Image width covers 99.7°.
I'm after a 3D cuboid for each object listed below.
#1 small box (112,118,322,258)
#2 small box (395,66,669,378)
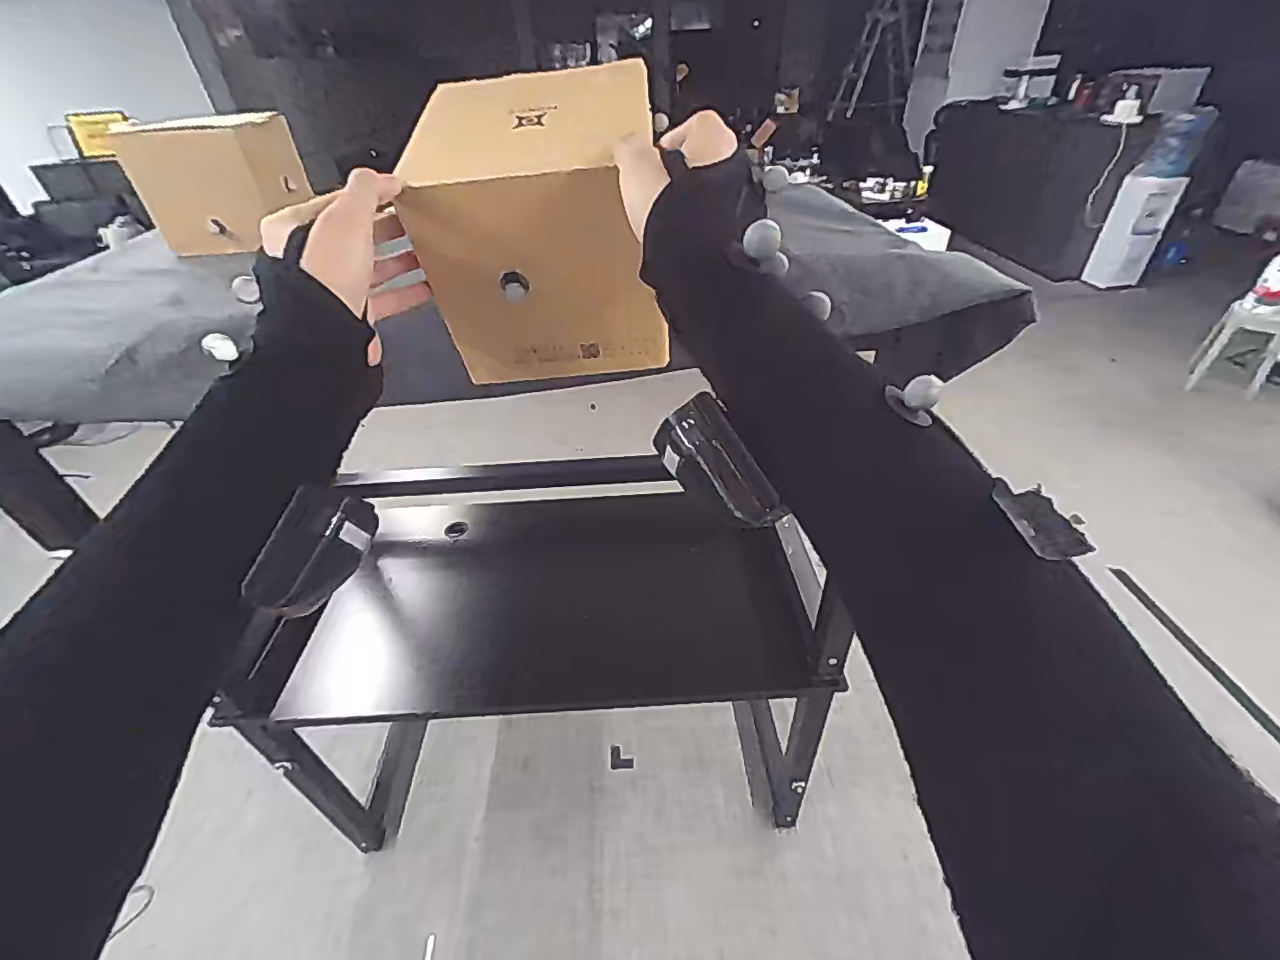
[{"bbox_3d":[-0.645,-0.463,0.857,0.179,0.176,0.168,-4,38,-2],"label":"small box"},{"bbox_3d":[-0.066,-0.197,0.438,0.168,0.176,0.179,-5,53,2],"label":"small box"}]
